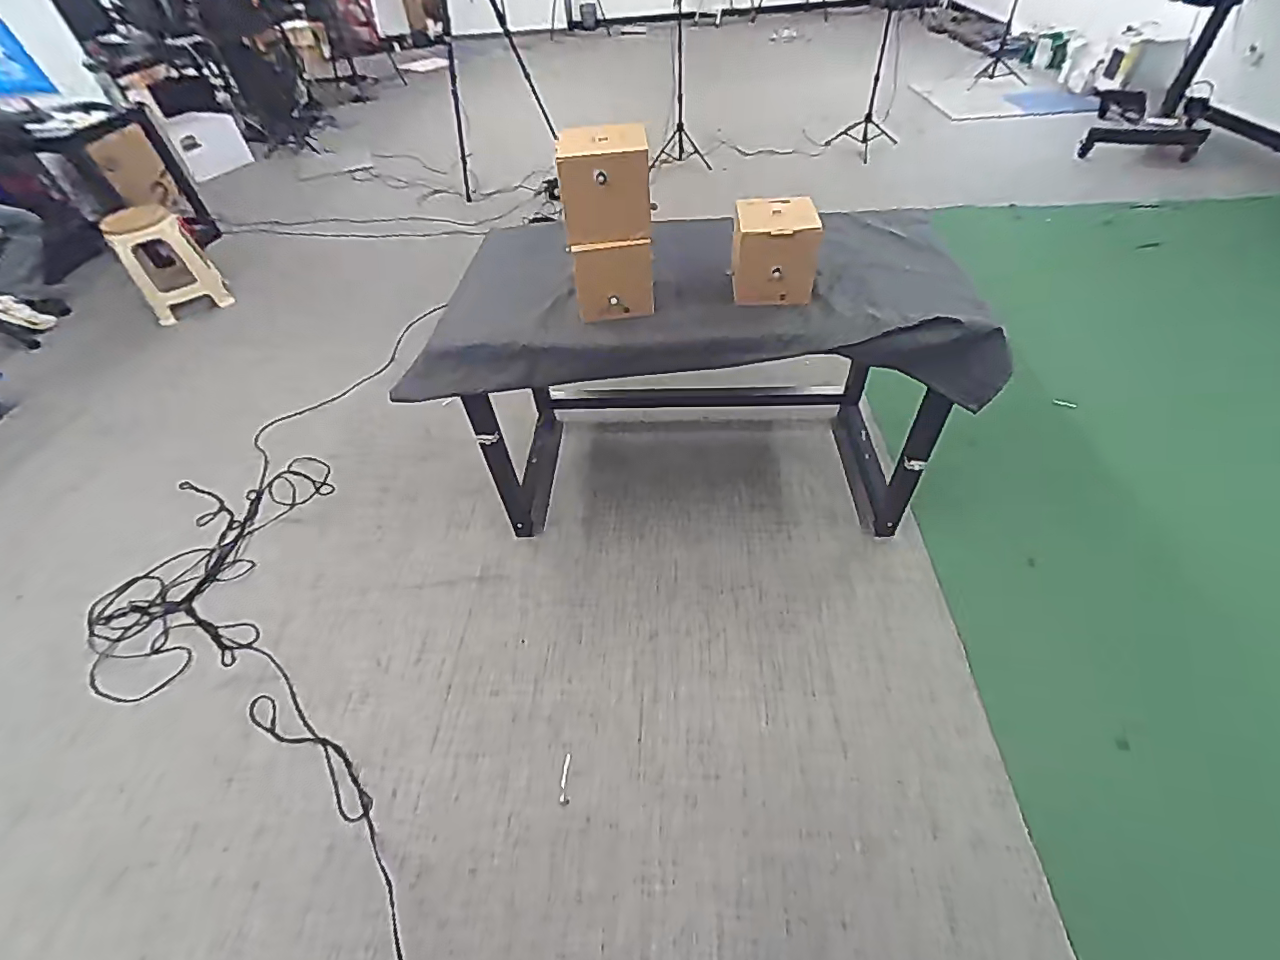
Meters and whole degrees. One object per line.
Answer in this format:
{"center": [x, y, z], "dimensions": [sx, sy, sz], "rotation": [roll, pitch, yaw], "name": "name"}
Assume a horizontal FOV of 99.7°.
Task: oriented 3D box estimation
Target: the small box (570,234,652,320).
{"center": [-0.067, -0.482, 1.211], "dimensions": [0.168, 0.176, 0.179], "rotation": [-8, 48, -2], "name": "small box"}

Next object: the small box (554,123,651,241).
{"center": [-0.073, -0.603, 1.102], "dimensions": [0.179, 0.176, 0.168], "rotation": [-4, 49, -1], "name": "small box"}

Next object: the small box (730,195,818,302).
{"center": [0.291, -0.513, 1.212], "dimensions": [0.168, 0.176, 0.179], "rotation": [0, 48, 5], "name": "small box"}
